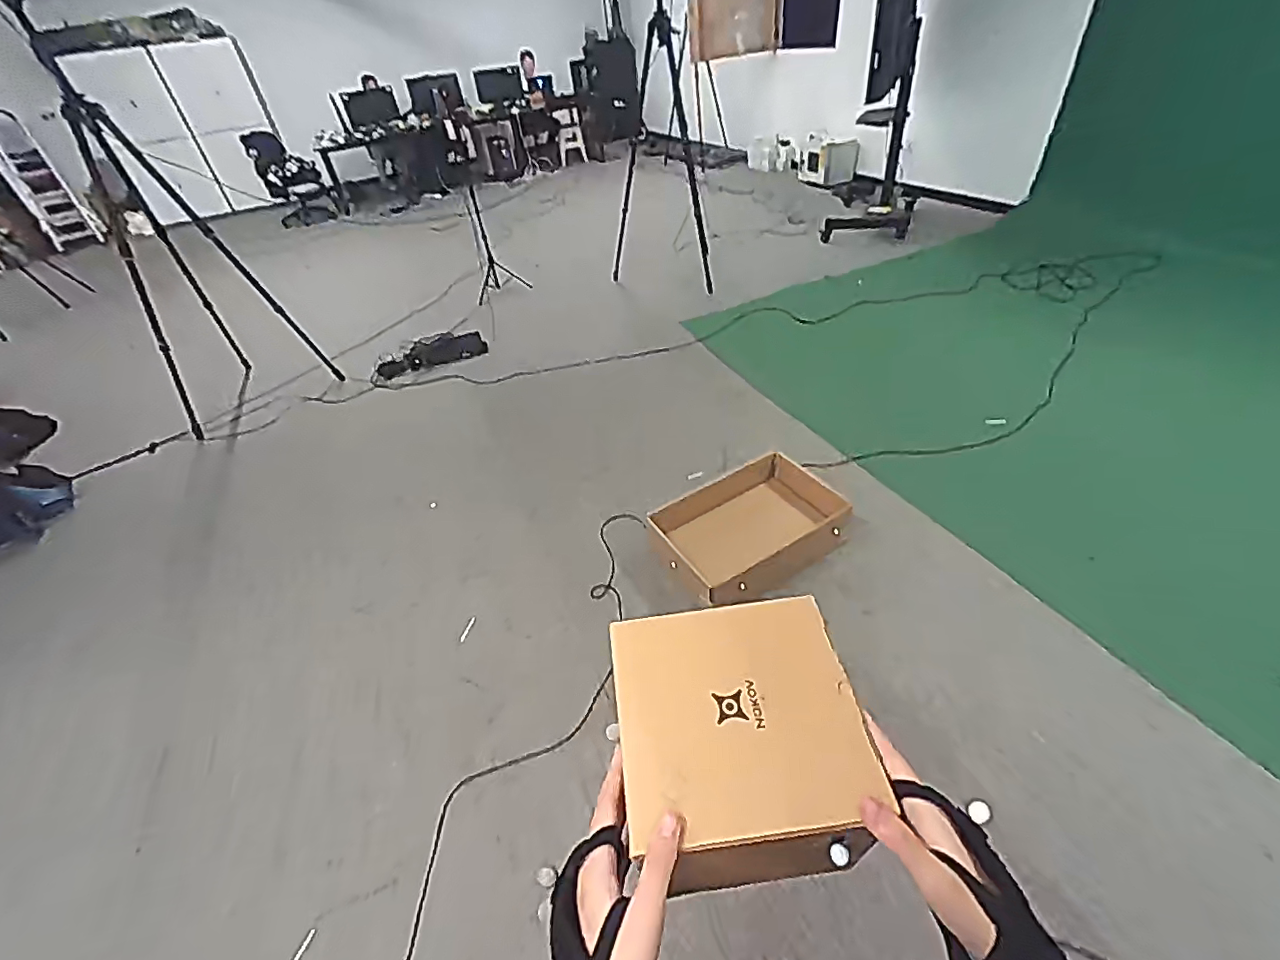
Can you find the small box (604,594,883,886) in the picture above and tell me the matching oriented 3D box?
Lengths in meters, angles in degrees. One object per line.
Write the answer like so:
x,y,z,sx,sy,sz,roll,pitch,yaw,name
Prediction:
0.070,0.221,0.457,0.179,0.176,0.168,-7,46,-3,small box
